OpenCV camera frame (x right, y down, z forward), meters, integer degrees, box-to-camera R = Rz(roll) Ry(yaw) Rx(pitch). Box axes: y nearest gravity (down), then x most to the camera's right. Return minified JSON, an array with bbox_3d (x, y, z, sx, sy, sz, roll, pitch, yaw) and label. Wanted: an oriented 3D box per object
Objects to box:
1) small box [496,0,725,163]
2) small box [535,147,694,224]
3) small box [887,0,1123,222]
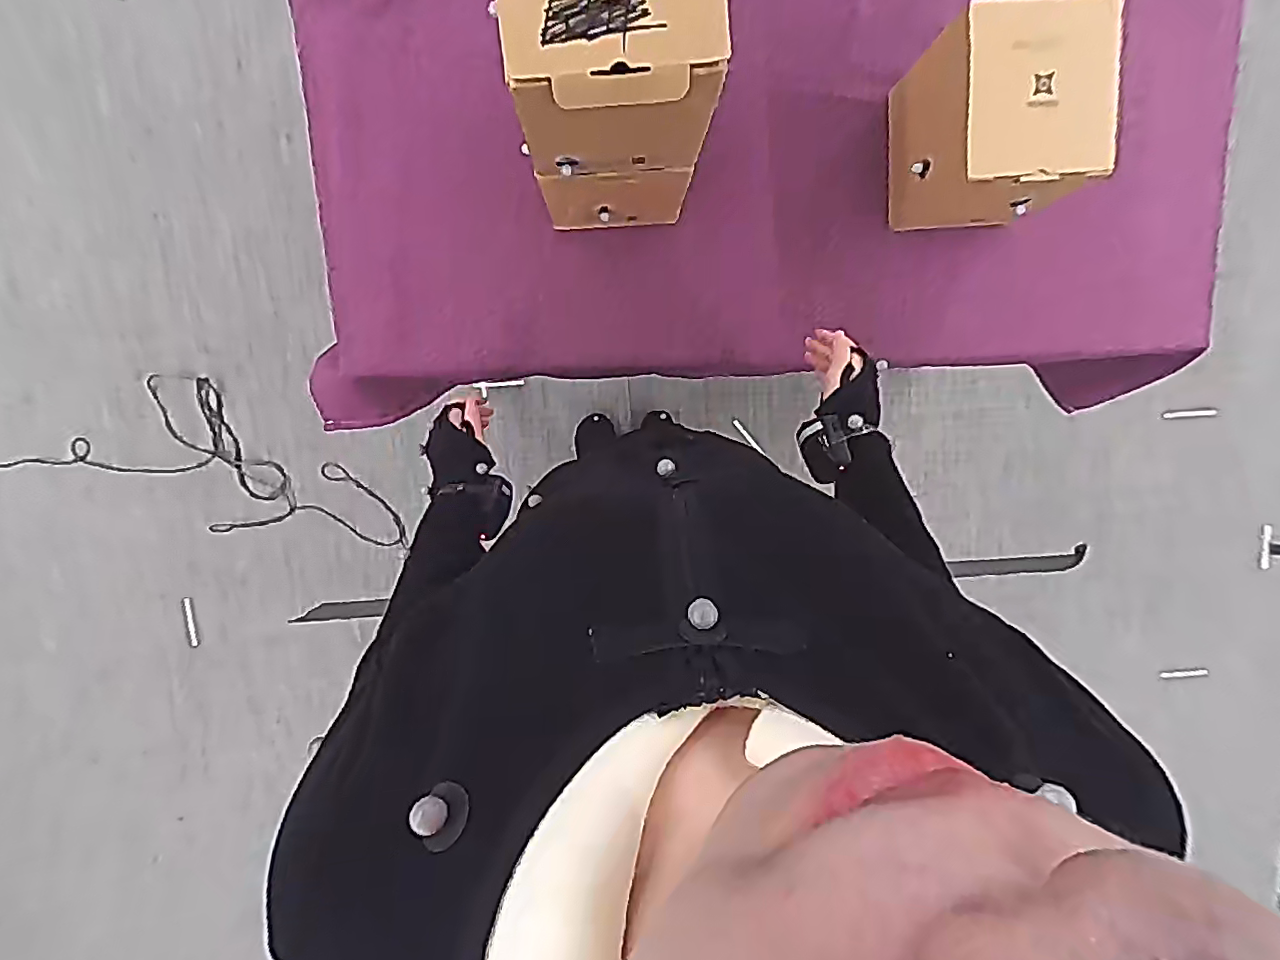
[{"bbox_3d":[-0.028,-0.393,0.460,0.168,0.176,0.179,-6,98,-2],"label":"small box"},{"bbox_3d":[-0.035,-0.416,0.623,0.168,0.176,0.179,-5,99,-2],"label":"small box"},{"bbox_3d":[0.414,-0.420,0.642,0.168,0.176,0.179,-4,98,-3],"label":"small box"}]
